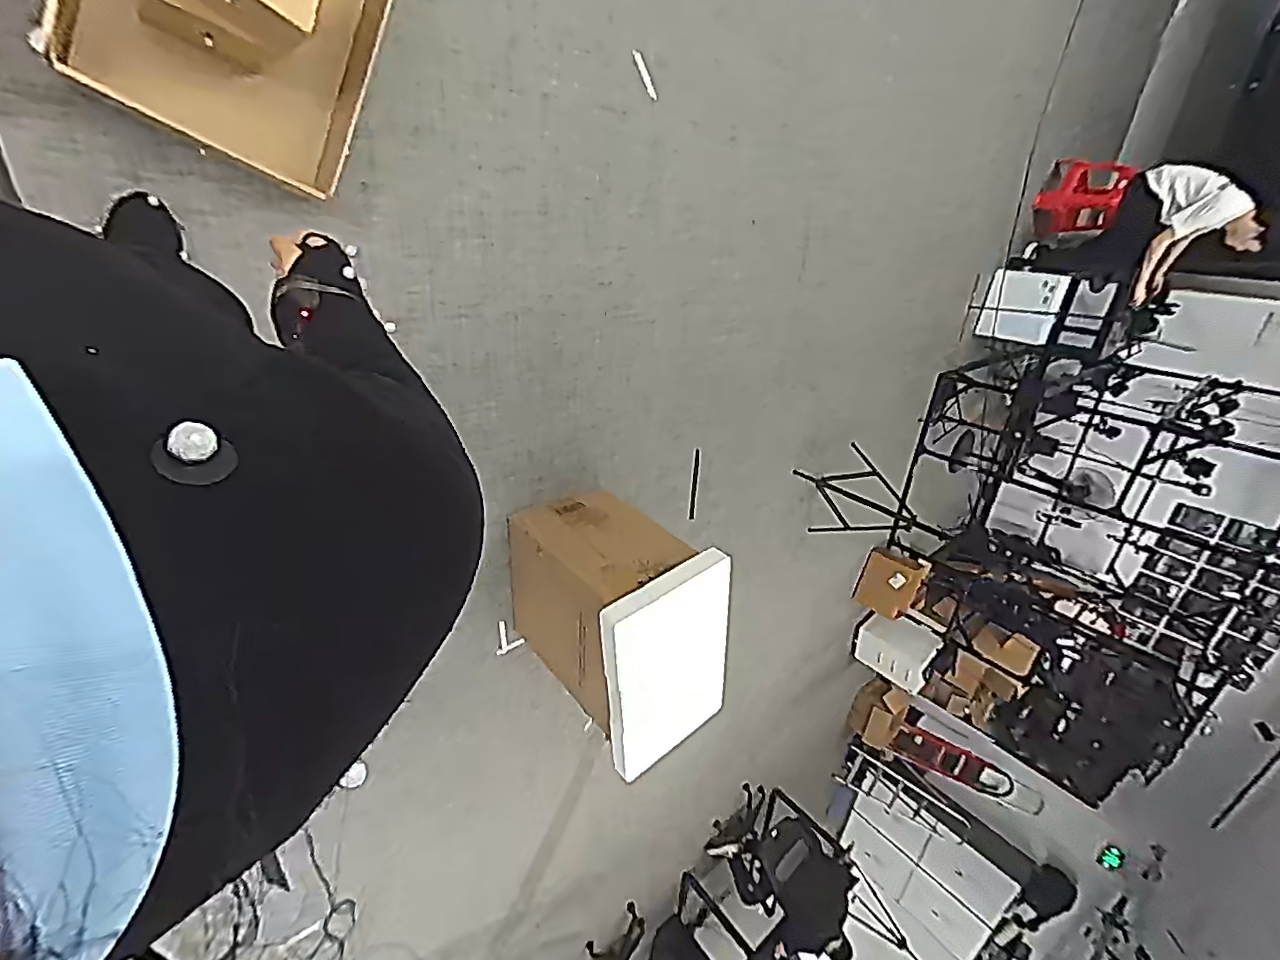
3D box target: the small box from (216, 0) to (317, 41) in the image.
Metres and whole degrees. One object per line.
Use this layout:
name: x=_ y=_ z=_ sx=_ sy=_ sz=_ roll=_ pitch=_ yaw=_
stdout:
small box: x=-0.578 y=-0.795 z=0.792 sx=0.179 sy=0.176 sz=0.168 roll=14 pitch=100 yaw=-48
